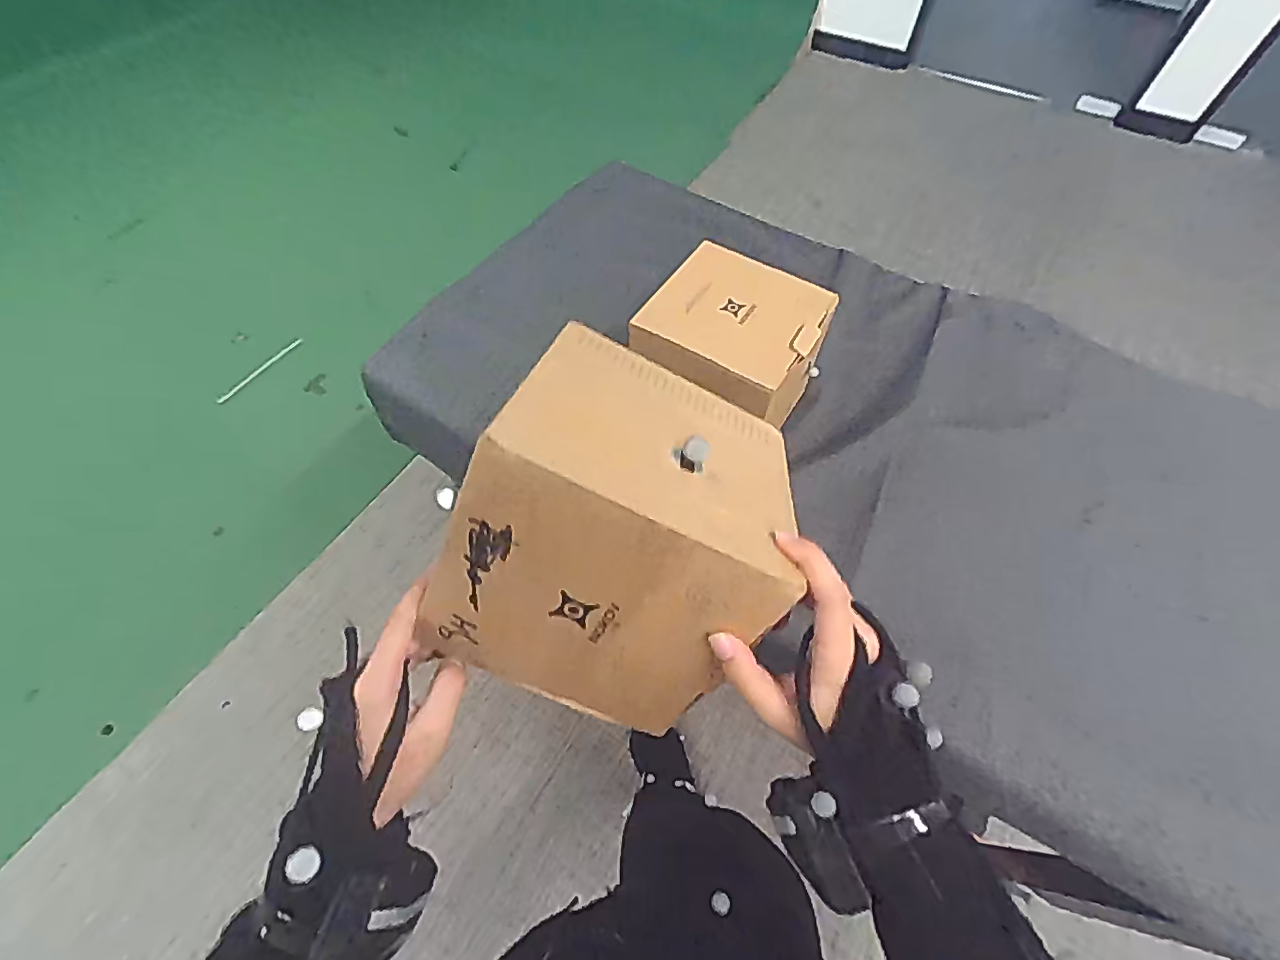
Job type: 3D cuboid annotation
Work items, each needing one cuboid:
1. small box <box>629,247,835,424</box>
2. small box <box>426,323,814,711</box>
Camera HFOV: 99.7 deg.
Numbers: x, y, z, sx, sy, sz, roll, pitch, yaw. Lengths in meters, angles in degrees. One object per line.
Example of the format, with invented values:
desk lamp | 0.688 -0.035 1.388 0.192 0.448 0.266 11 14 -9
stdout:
small box | 0.104 -0.142 0.661 0.179 0.176 0.168 29 63 17
small box | -0.012 0.018 0.370 0.179 0.168 0.176 26 33 -9
